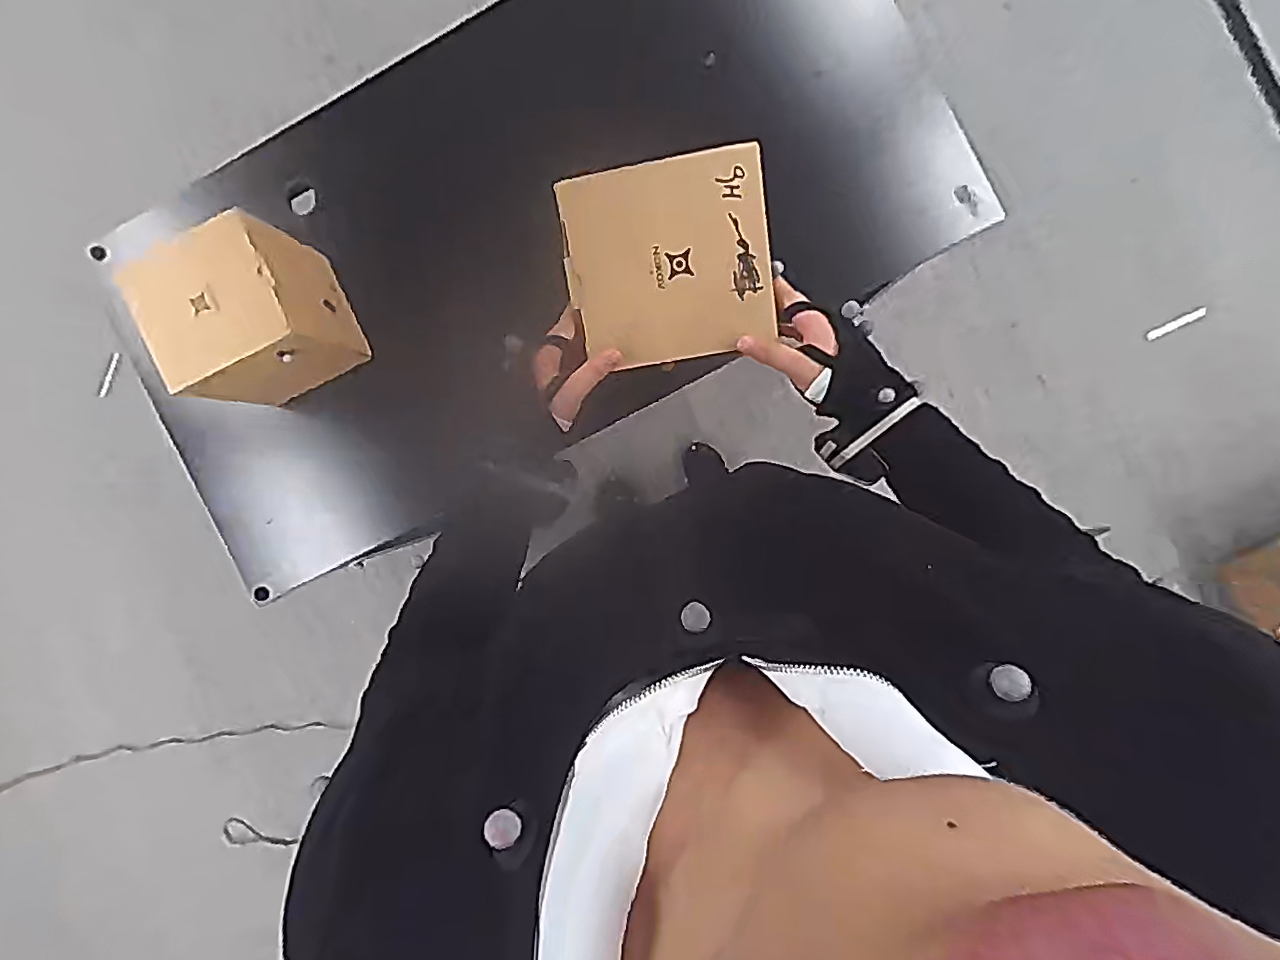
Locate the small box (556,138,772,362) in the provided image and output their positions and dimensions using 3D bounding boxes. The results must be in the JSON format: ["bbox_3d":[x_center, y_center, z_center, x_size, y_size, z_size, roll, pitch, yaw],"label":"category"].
[{"bbox_3d":[0.029,-0.218,0.555,0.179,0.176,0.168,-8,105,6],"label":"small box"}]

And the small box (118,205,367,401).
[{"bbox_3d":[-0.513,-0.219,0.724,0.179,0.176,0.168,-25,91,3],"label":"small box"}]
